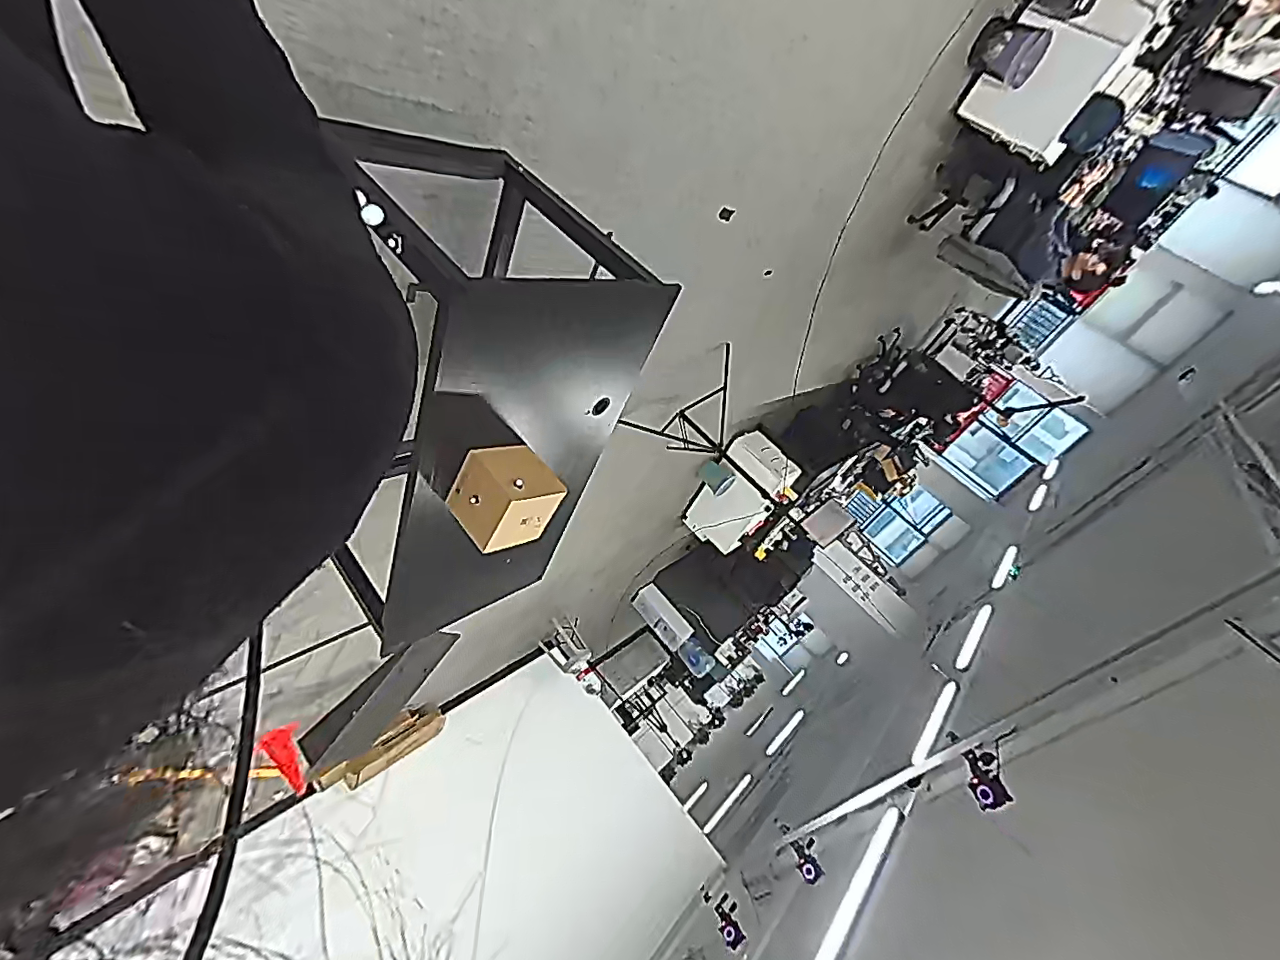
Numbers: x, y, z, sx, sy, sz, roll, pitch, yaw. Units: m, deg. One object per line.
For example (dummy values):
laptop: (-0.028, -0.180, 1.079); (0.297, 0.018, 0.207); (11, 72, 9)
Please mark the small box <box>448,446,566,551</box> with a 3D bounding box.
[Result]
small box: (-0.314, 0.036, 1.262); (0.179, 0.176, 0.168); (-13, 143, -55)
